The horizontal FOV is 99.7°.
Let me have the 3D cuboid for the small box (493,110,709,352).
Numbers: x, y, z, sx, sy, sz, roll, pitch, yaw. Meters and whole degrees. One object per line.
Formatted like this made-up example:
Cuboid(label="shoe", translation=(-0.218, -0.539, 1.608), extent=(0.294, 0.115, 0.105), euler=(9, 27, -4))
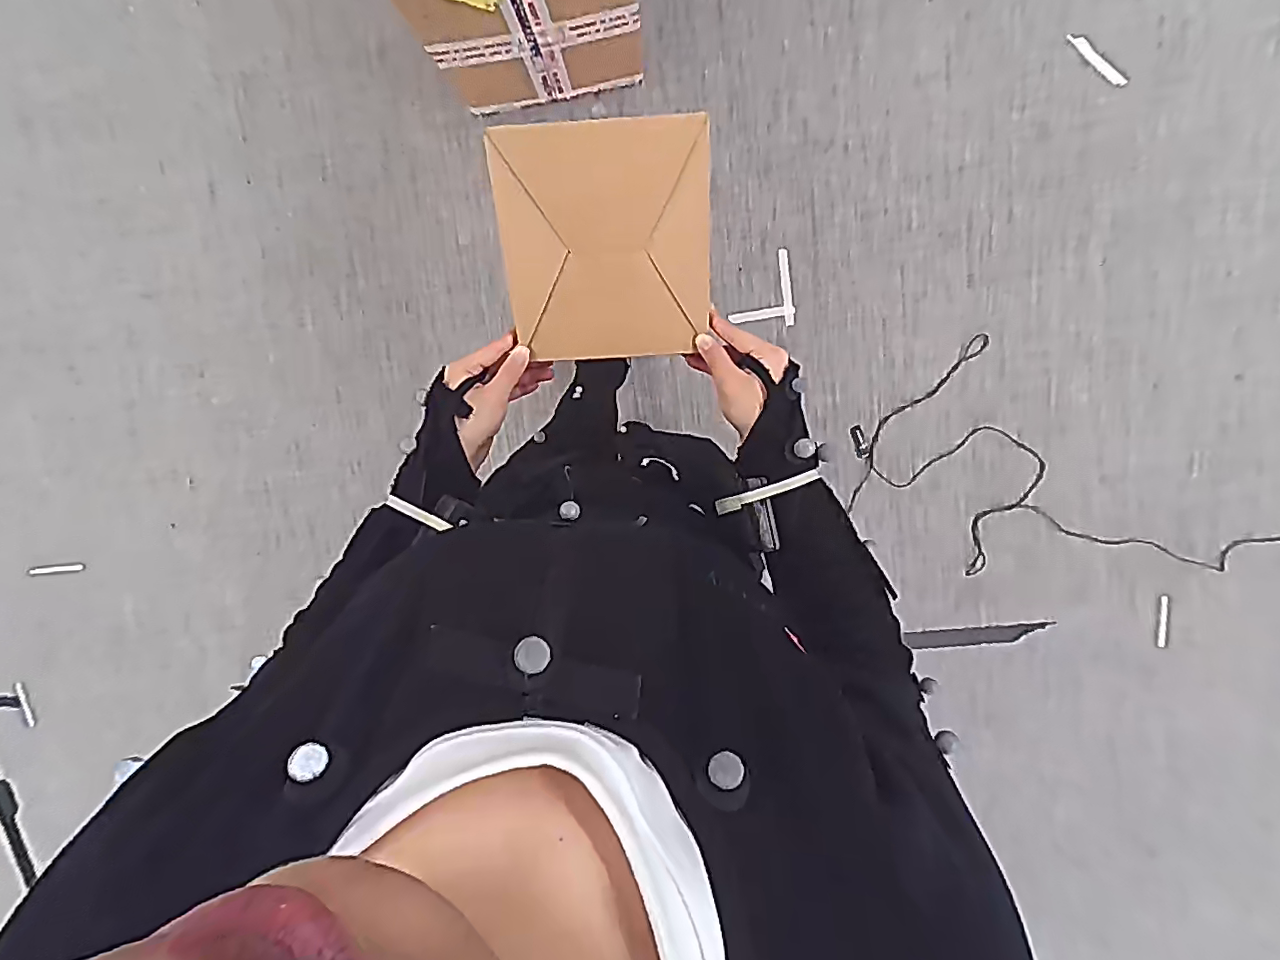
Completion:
Cuboid(label="small box", translation=(-0.028, -0.227, 0.506), extent=(0.168, 0.176, 0.179), euler=(-3, 119, 1))
